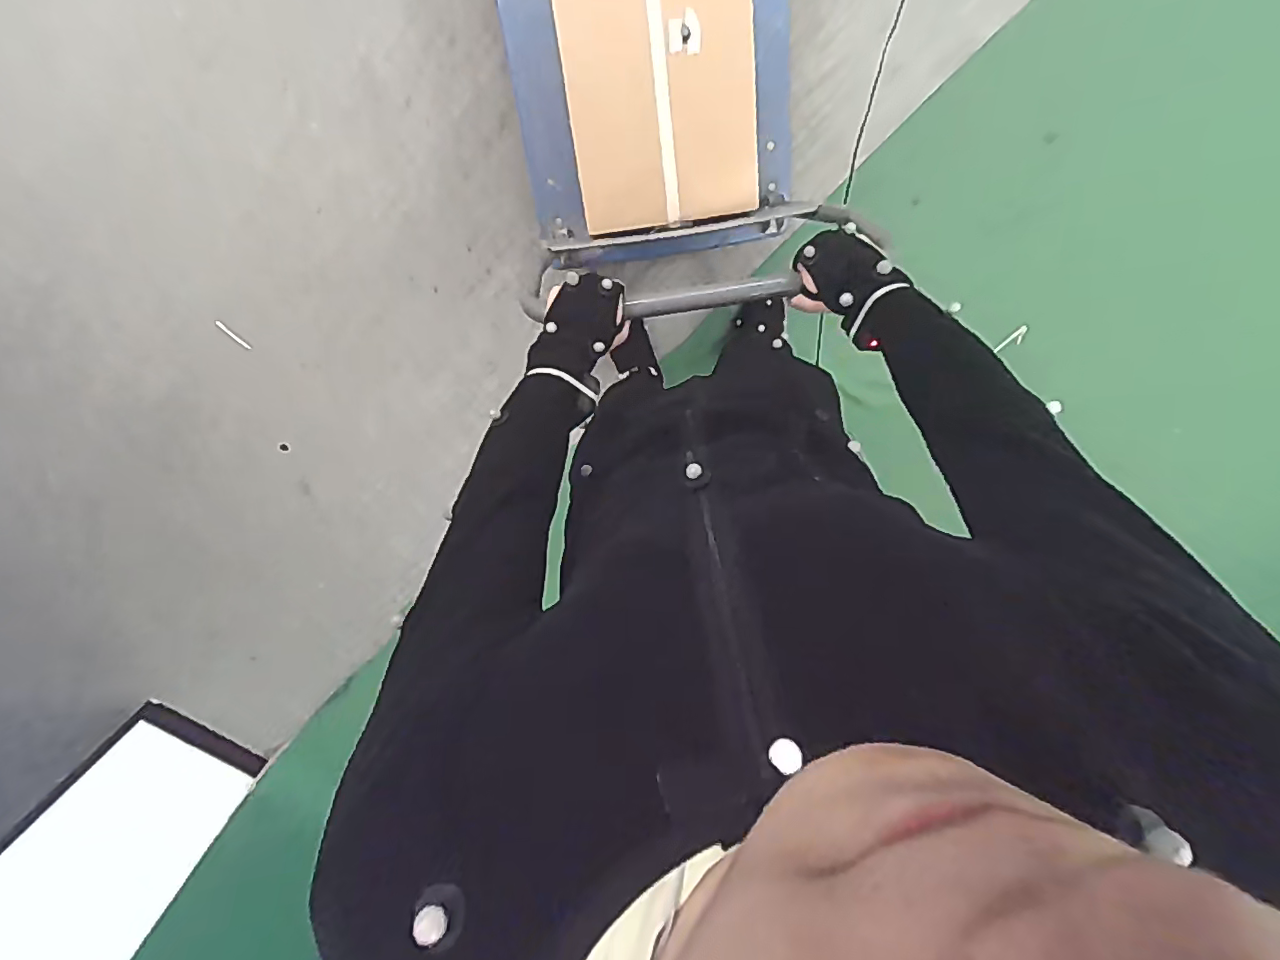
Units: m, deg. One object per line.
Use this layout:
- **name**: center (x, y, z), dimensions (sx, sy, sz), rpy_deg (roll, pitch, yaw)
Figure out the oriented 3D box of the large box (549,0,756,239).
- **large box**: center (0.032, -0.710, 1.049), dimensions (0.320, 0.320, 0.408), rpy_deg (-7, 114, 3)
